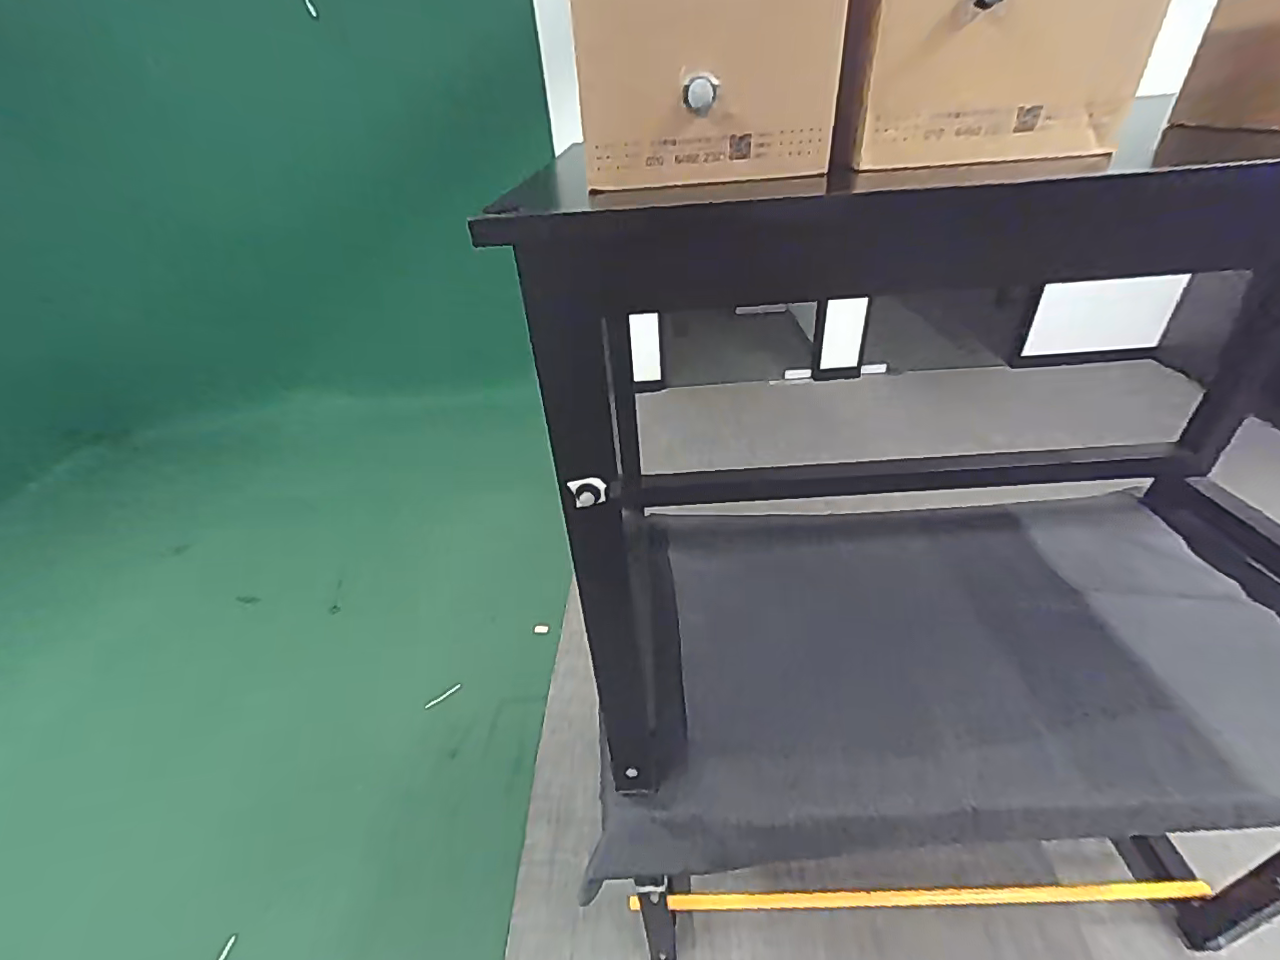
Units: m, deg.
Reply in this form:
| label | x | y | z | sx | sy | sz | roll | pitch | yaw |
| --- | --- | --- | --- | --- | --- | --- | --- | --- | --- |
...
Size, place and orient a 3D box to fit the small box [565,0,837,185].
| label | x | y | z | sx | sy | sz | roll | pitch | yaw |
| --- | --- | --- | --- | --- | --- | --- | --- | --- | --- |
| small box | 0.035 | -0.320 | 0.394 | 0.168 | 0.176 | 0.179 | -4 | 36 | 1 |
